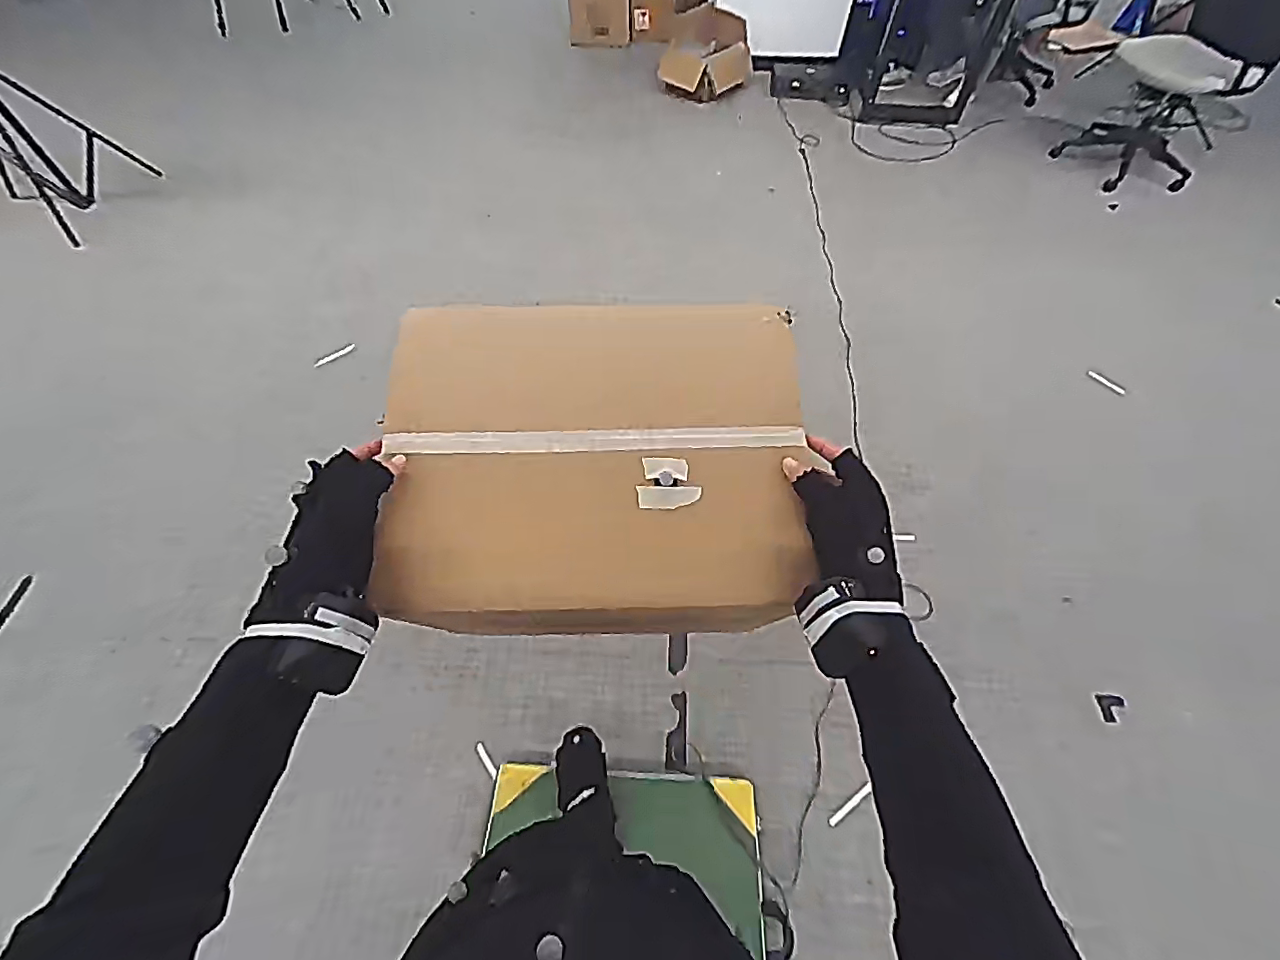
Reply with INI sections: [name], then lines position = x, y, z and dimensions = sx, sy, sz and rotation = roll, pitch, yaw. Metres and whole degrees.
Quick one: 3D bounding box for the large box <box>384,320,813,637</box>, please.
[large box]
position = -0.046, 0.020, 0.685
dimensions = 0.408, 0.320, 0.320
rotation = -1, 70, -2
